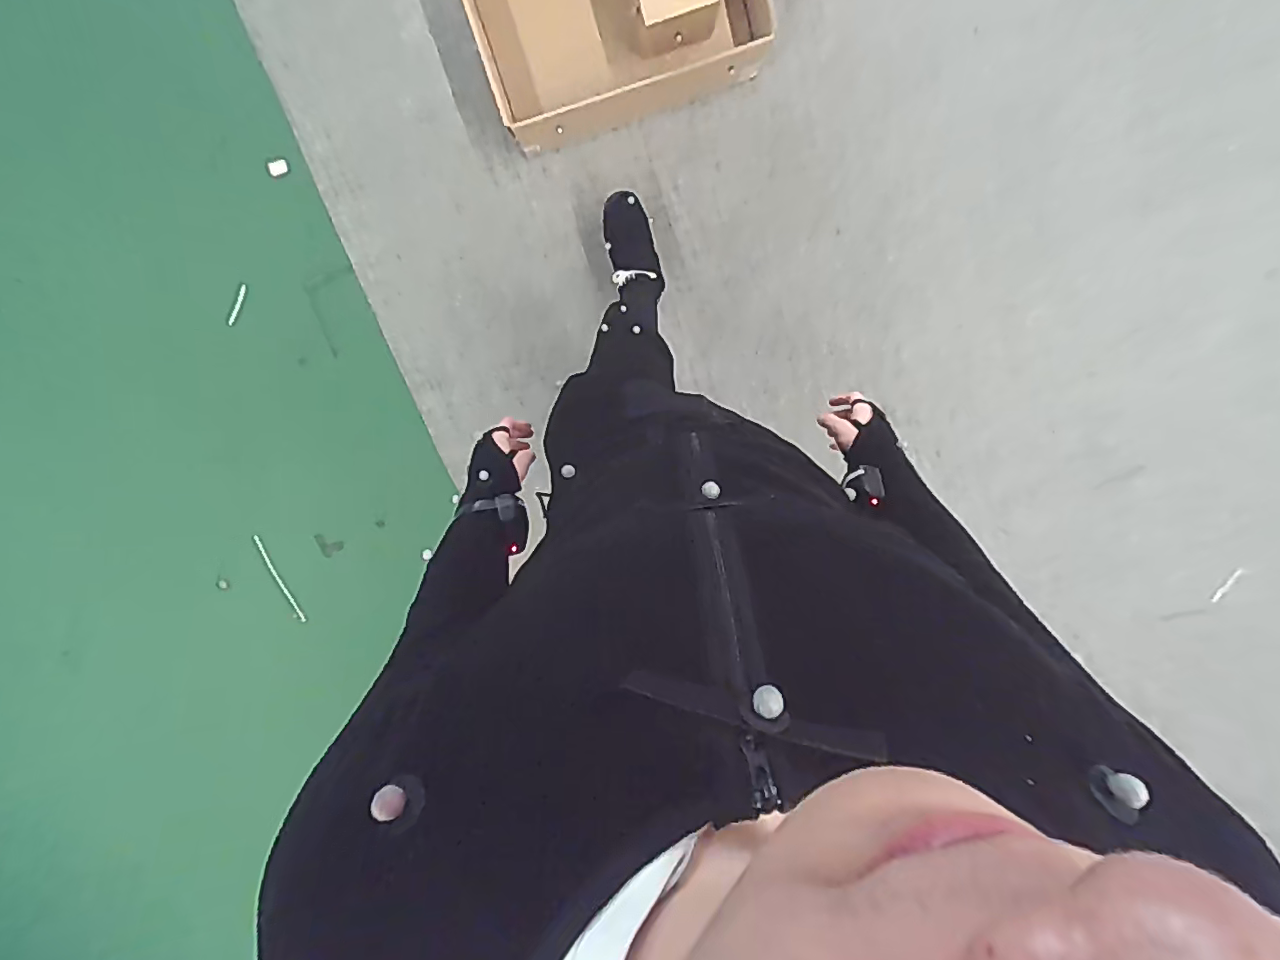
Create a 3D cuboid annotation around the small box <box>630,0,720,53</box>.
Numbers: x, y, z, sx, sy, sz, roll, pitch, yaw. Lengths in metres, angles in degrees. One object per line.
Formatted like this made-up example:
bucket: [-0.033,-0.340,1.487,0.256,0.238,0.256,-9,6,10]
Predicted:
small box: [0.065,-1.052,1.151,0.168,0.176,0.179,-15,107,4]
